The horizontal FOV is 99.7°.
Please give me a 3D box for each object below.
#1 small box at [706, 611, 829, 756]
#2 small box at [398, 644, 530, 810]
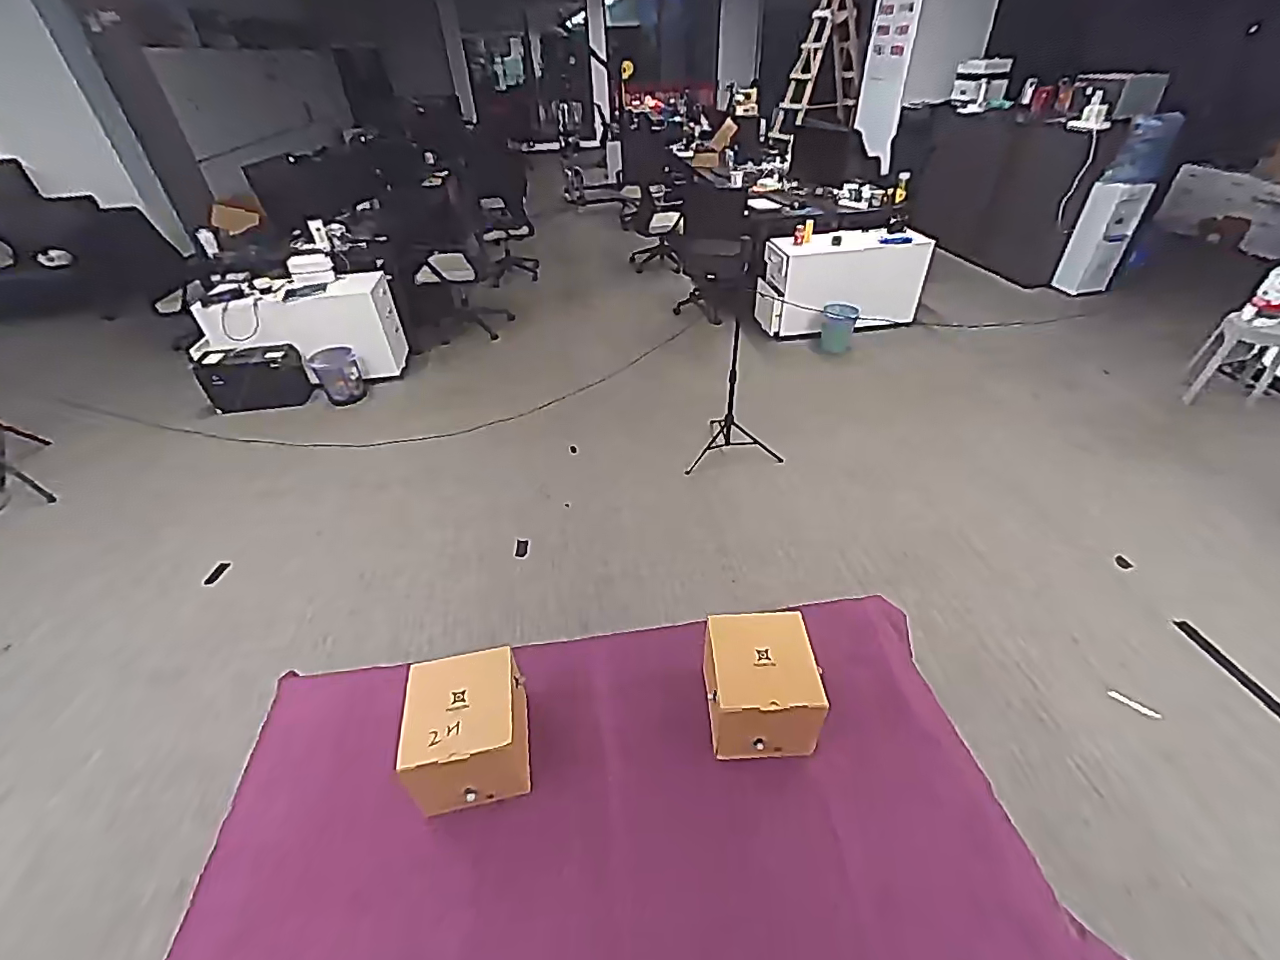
[{"bbox_3d":[0.207,0.349,0.931,0.168,0.176,0.179,-3,40,0],"label":"small box"},{"bbox_3d":[-0.277,0.404,0.889,0.168,0.176,0.179,-9,39,-7],"label":"small box"}]
